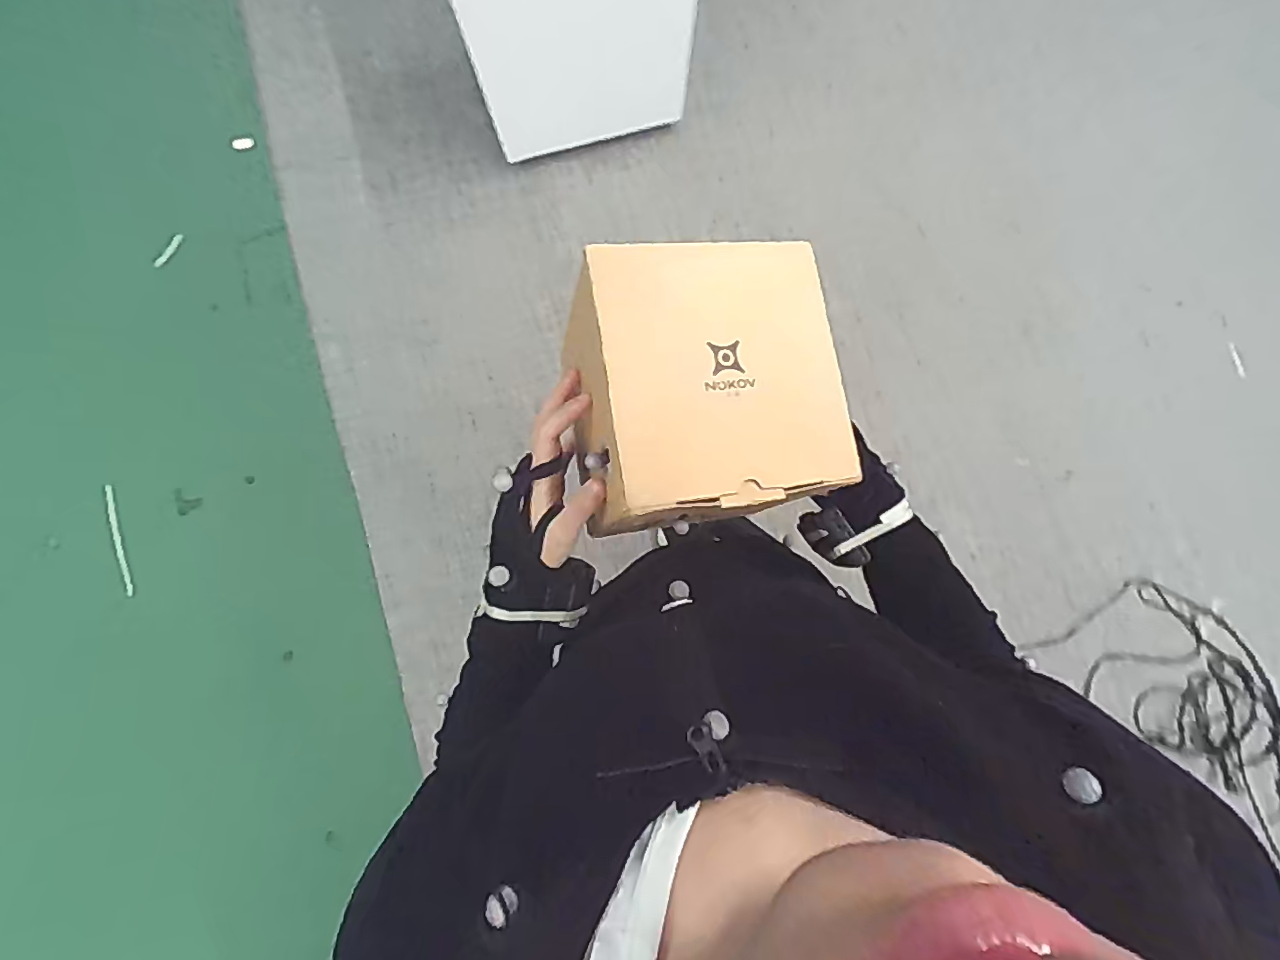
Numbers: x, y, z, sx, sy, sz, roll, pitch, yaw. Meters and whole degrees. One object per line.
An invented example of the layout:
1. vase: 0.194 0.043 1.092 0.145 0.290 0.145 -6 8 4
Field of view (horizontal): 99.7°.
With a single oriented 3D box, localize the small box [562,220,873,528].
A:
1. small box: 0.038 -0.068 0.412 0.168 0.176 0.179 -8 81 -15
